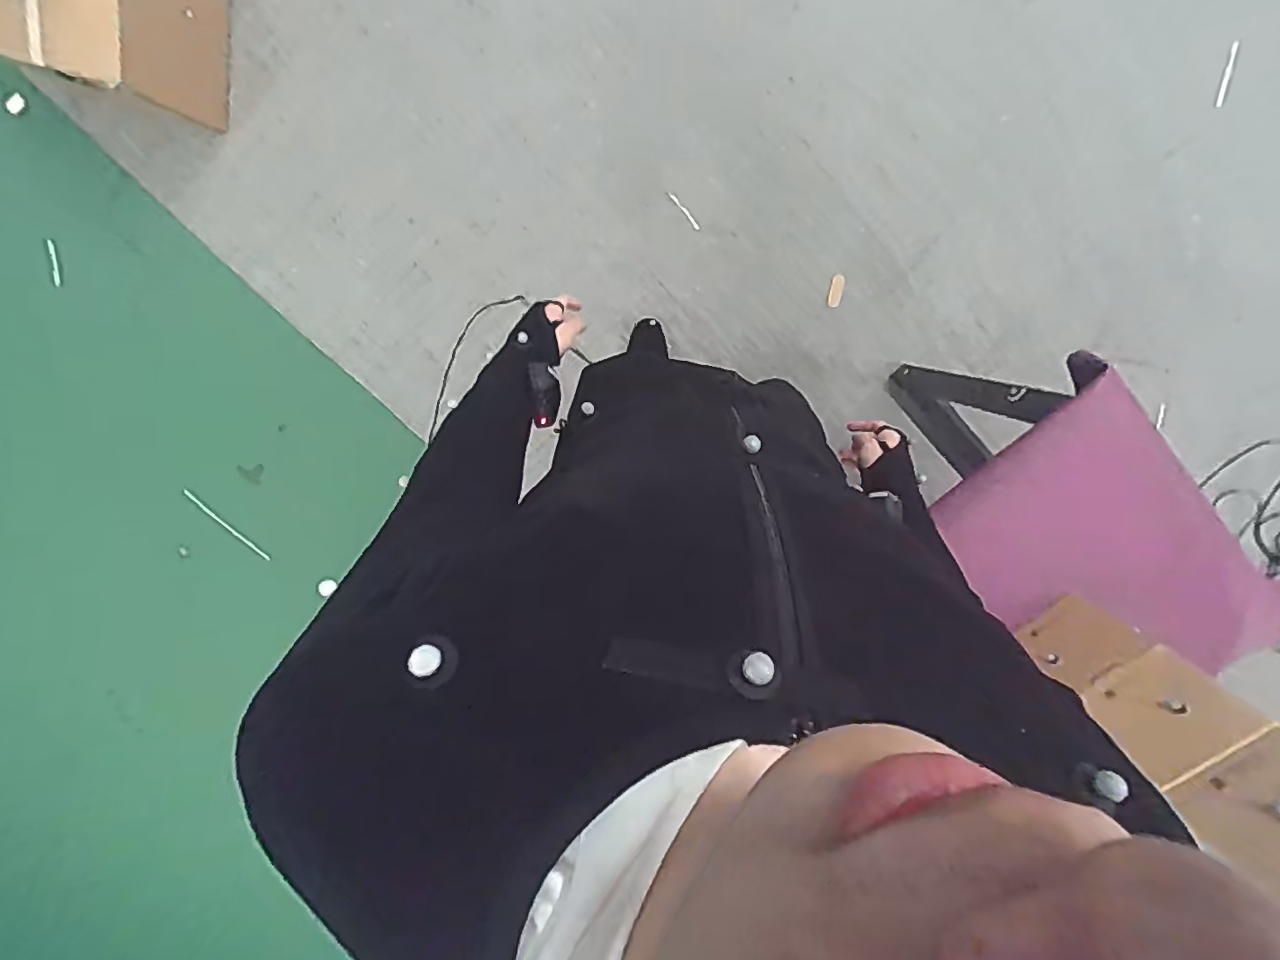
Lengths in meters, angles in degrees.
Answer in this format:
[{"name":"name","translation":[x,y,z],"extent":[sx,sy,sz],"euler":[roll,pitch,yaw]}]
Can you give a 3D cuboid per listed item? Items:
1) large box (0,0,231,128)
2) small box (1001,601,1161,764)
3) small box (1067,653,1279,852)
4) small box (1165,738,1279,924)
[{"name":"large box","translation":[-1.145,-1.065,1.167],"extent":[0.320,0.320,0.408],"euler":[13,108,-3]},{"name":"small box","translation":[0.780,0.335,0.933],"extent":[0.168,0.176,0.179],"euler":[-42,103,12]},{"name":"small box","translation":[0.779,0.380,0.778],"extent":[0.168,0.176,0.179],"euler":[-43,103,12]},{"name":"small box","translation":[0.783,0.433,0.623],"extent":[0.168,0.176,0.179],"euler":[-43,102,13]}]
